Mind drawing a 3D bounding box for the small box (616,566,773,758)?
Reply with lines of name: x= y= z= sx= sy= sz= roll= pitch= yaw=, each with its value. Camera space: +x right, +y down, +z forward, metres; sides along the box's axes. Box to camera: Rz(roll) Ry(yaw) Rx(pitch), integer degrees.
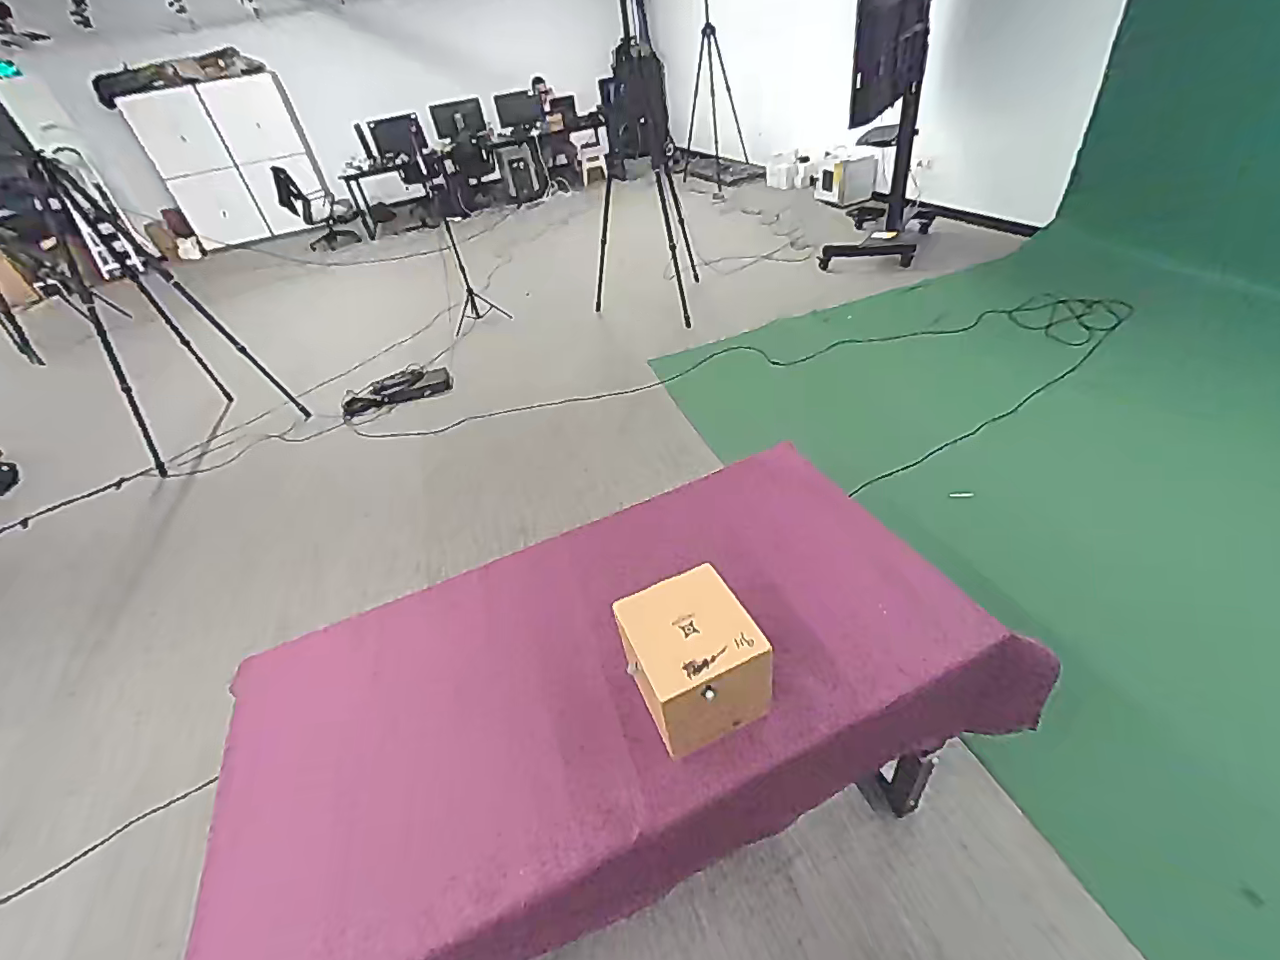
small box: x=0.081 y=0.267 z=0.801 sx=0.168 sy=0.176 sz=0.179 roll=-22 pitch=39 yaw=-12
